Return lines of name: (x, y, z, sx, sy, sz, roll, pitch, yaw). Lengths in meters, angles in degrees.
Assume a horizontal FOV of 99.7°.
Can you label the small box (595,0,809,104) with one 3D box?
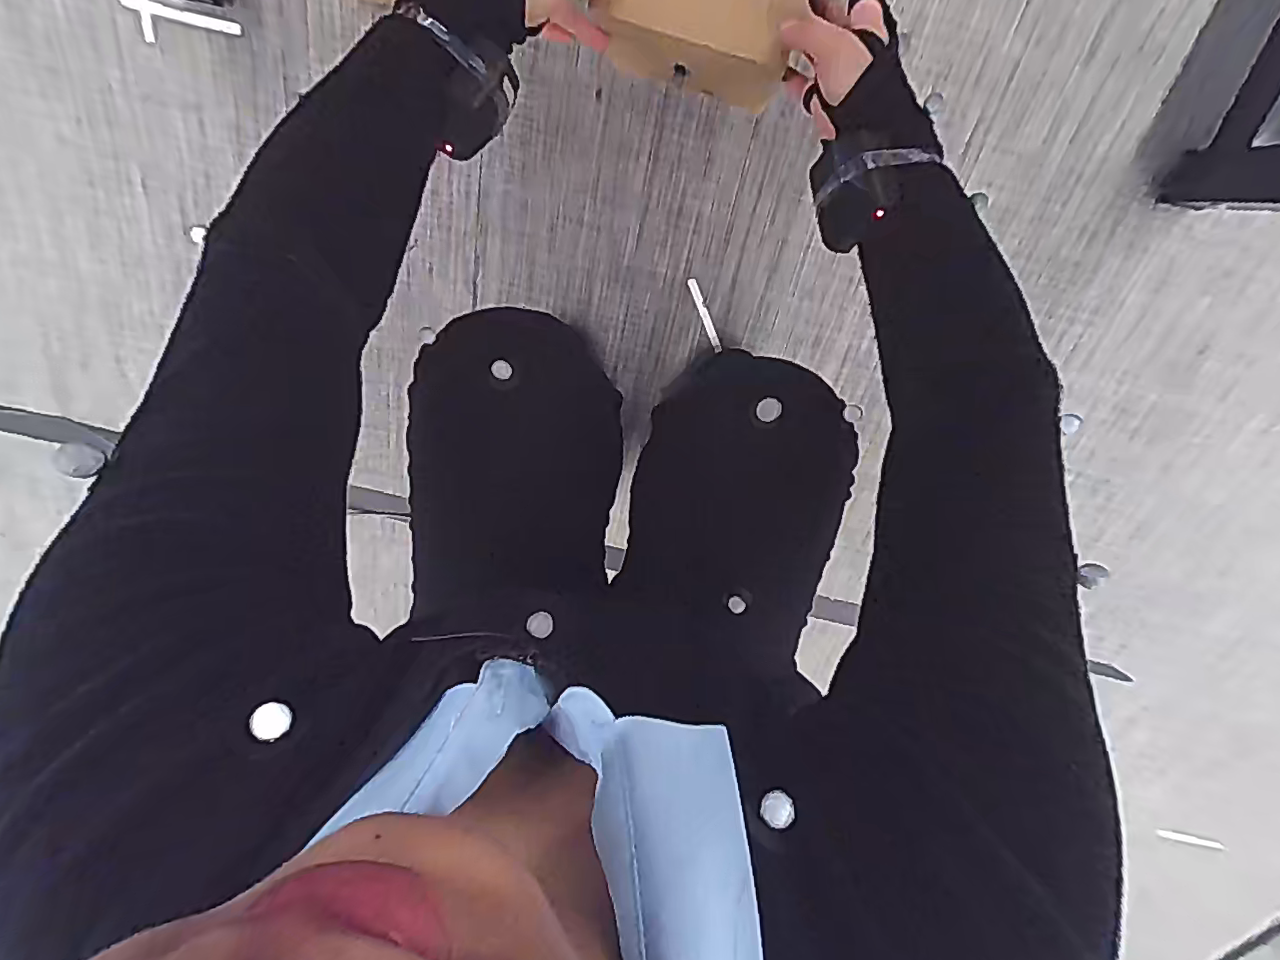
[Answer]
small box: (0.070, -0.458, 0.467, 0.168, 0.176, 0.179, 16, 114, -3)
